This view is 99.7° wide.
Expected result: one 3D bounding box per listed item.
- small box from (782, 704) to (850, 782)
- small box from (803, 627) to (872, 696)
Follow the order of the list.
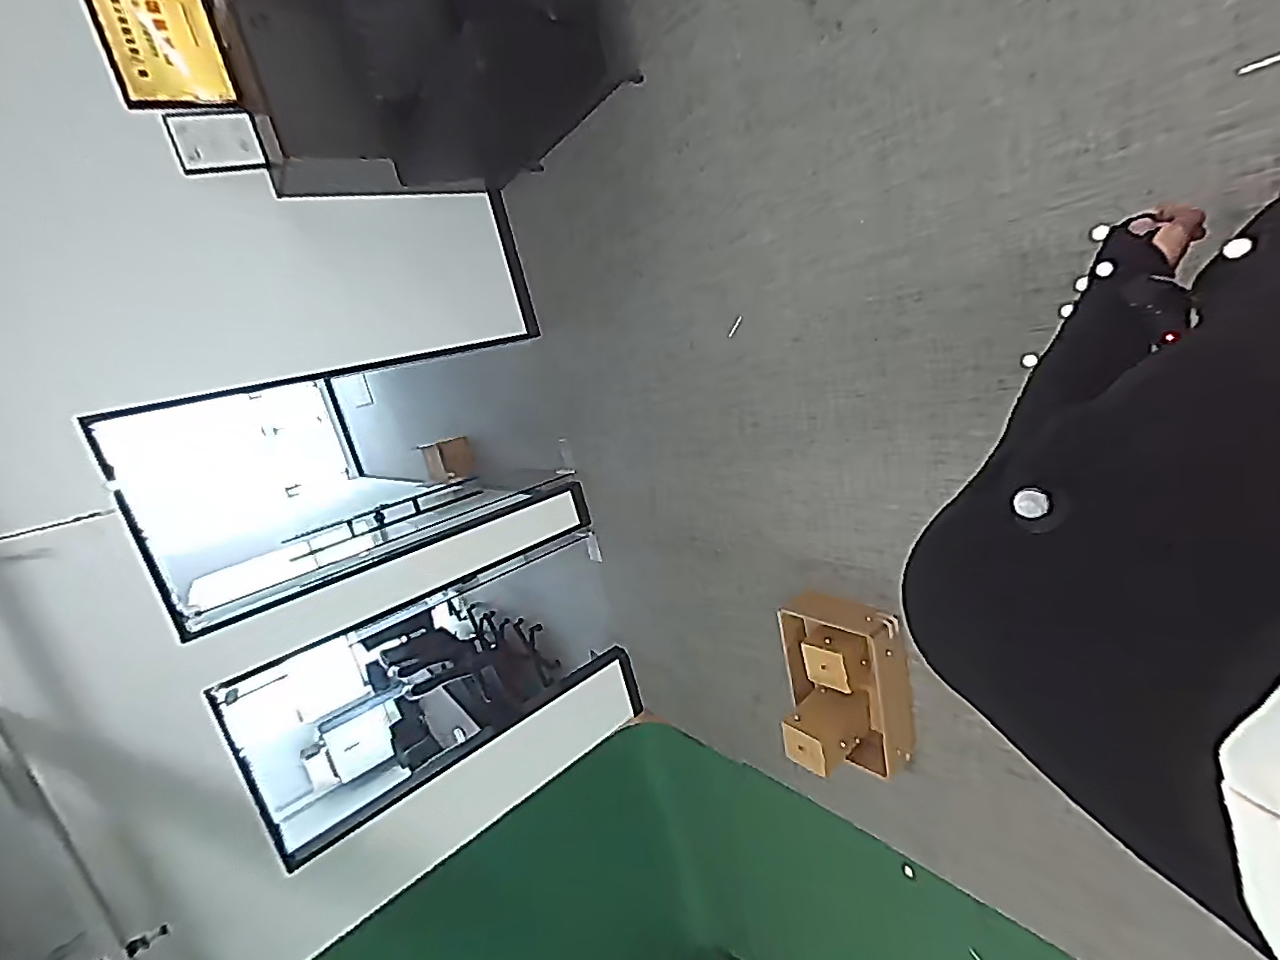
[{"bbox_3d":[0.661,0.972,2.022,0.179,0.176,0.168,7,113,51],"label":"small box"},{"bbox_3d":[0.747,0.677,2.042,0.179,0.176,0.168,0,108,51],"label":"small box"}]
